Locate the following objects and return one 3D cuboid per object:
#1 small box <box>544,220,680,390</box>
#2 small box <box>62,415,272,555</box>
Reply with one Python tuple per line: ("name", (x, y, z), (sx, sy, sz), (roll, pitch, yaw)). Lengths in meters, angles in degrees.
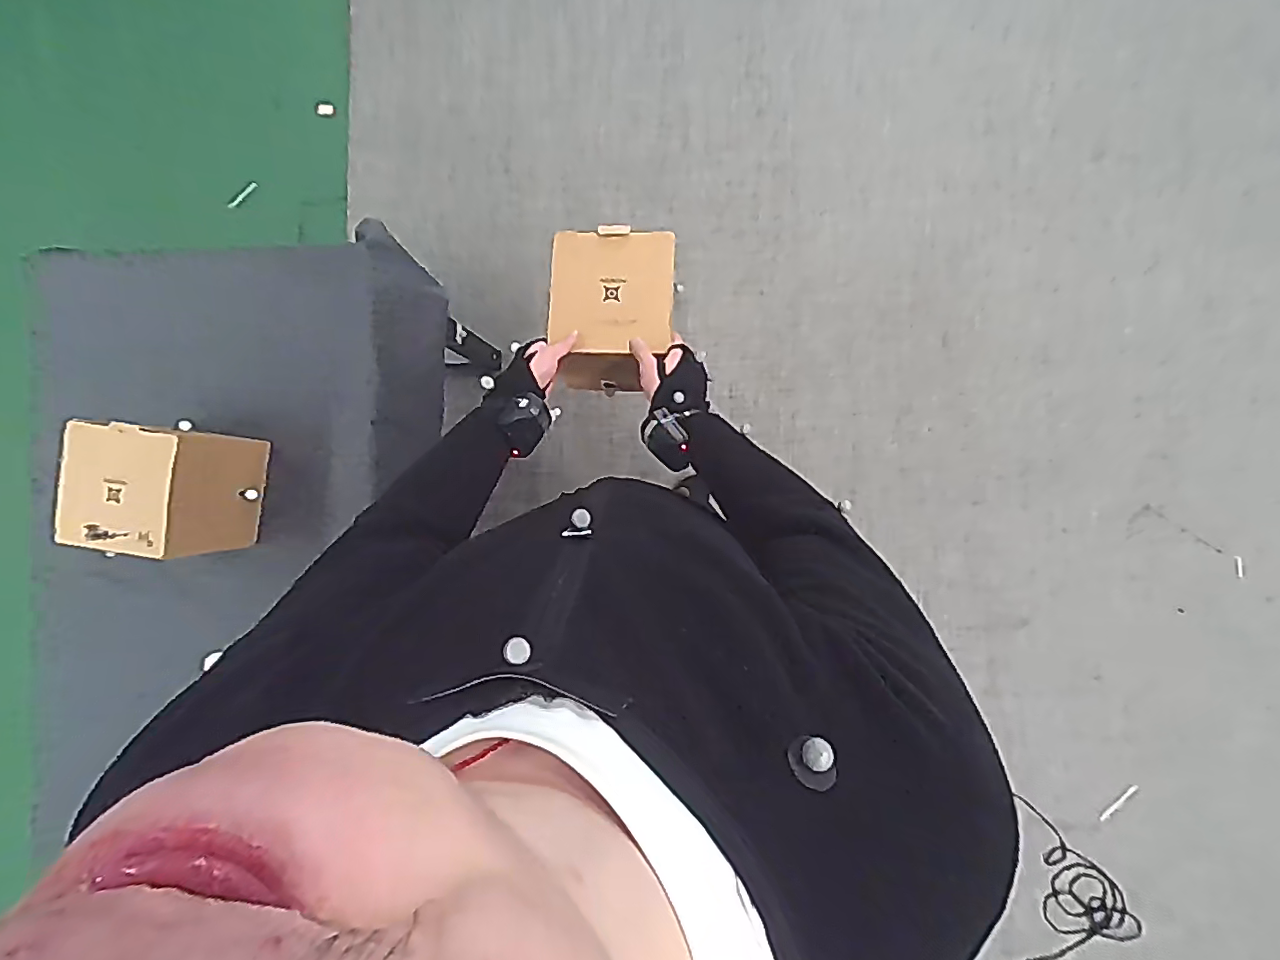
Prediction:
("small box", (-0.031, -0.243, 0.778), (0.168, 0.176, 0.179), (3, 82, 5))
("small box", (-0.708, 0.007, 0.830), (0.168, 0.176, 0.179), (9, 91, 4))
